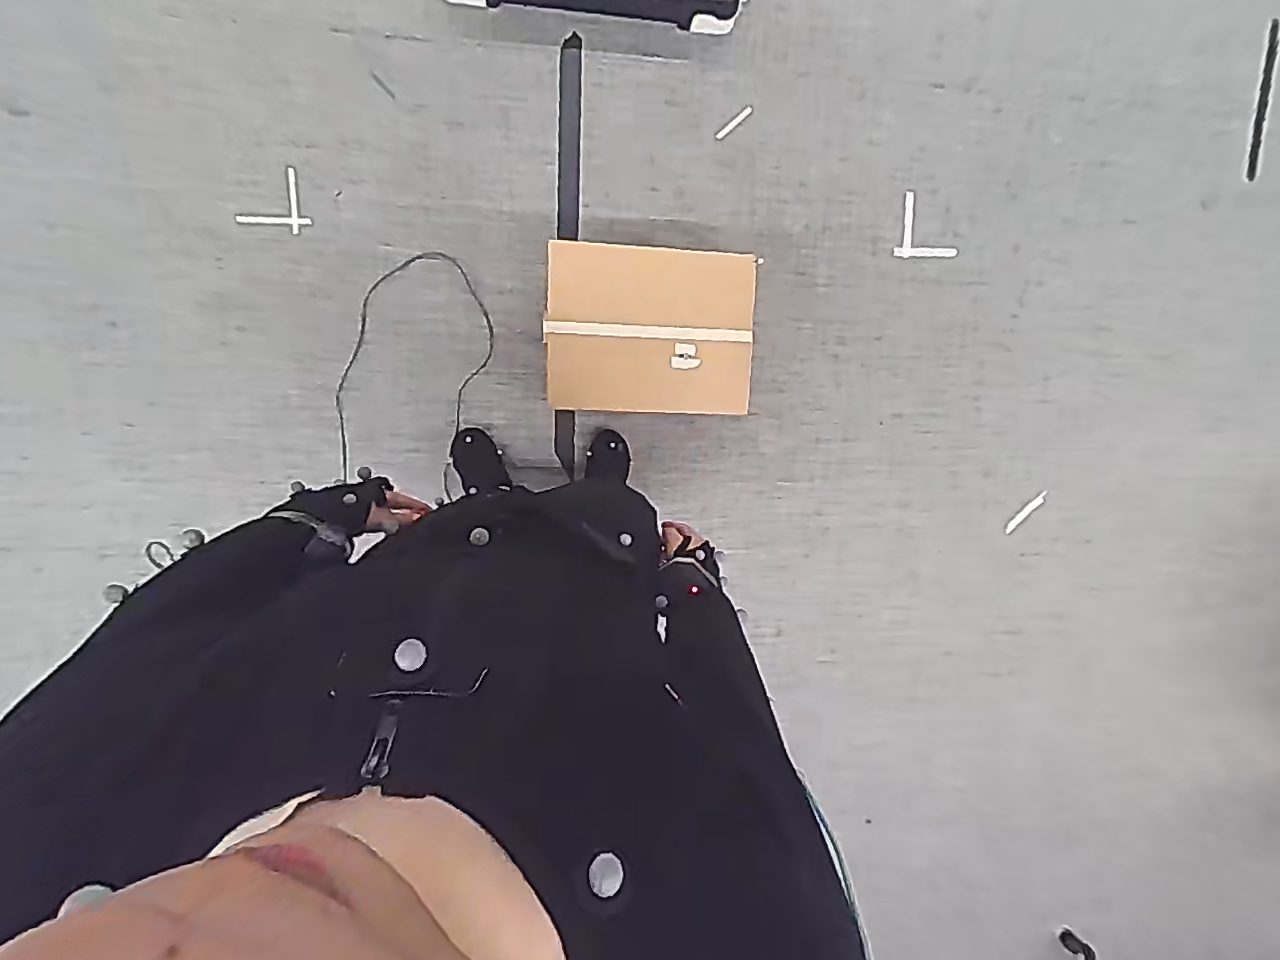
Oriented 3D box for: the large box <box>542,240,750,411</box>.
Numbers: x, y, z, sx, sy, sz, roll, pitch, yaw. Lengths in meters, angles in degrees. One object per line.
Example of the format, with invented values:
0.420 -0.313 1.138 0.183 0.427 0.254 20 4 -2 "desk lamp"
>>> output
-0.006 -0.315 1.188 0.408 0.320 0.320 0 100 -8 "large box"
